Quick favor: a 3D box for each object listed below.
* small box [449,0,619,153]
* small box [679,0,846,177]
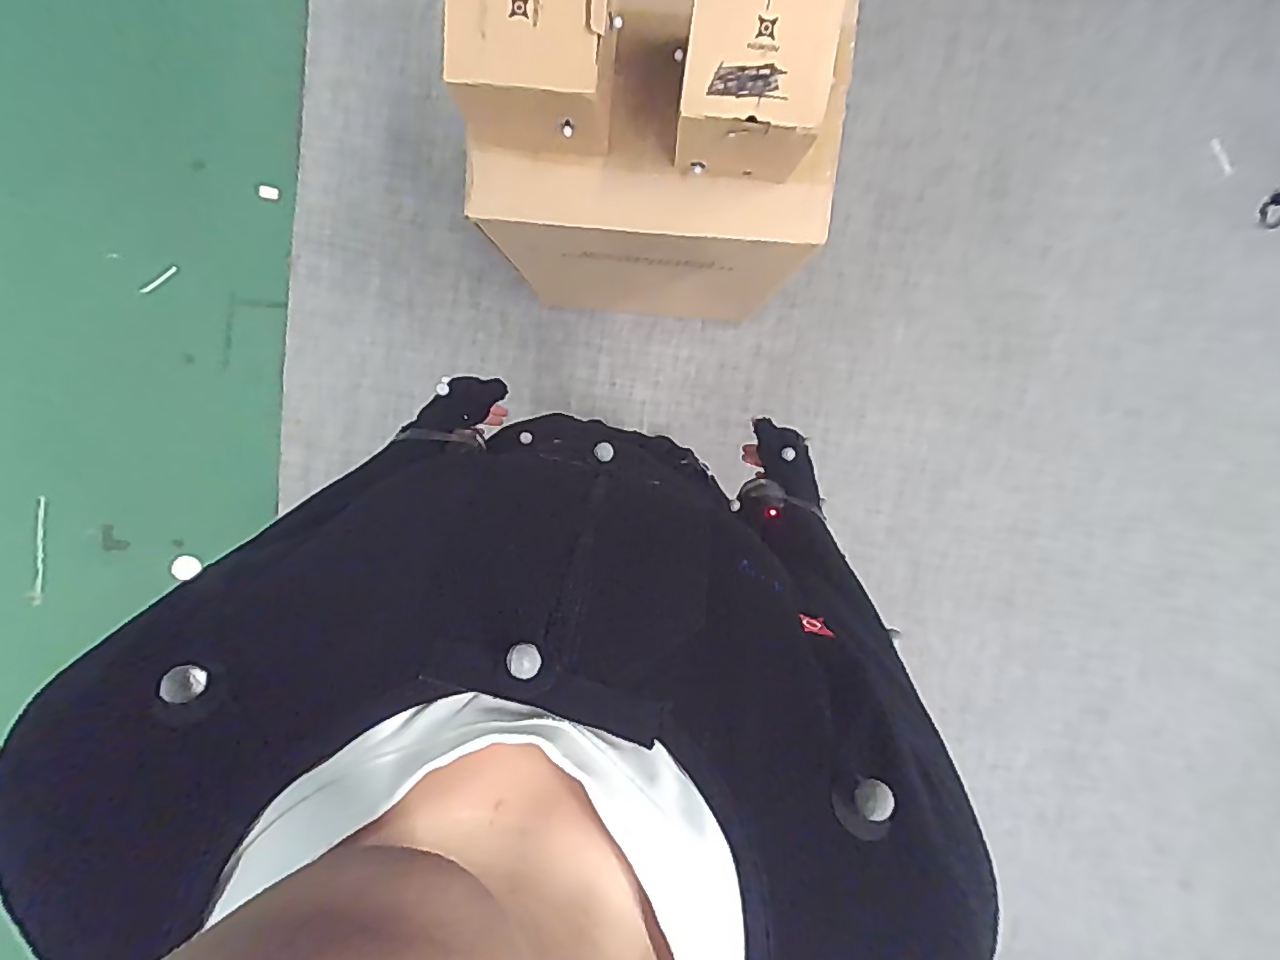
[{"bbox_3d":[-0.122,-0.537,0.682,0.179,0.176,0.168,5,99,3],"label":"small box"},{"bbox_3d":[0.141,-0.505,0.674,0.168,0.176,0.179,8,100,1],"label":"small box"}]
